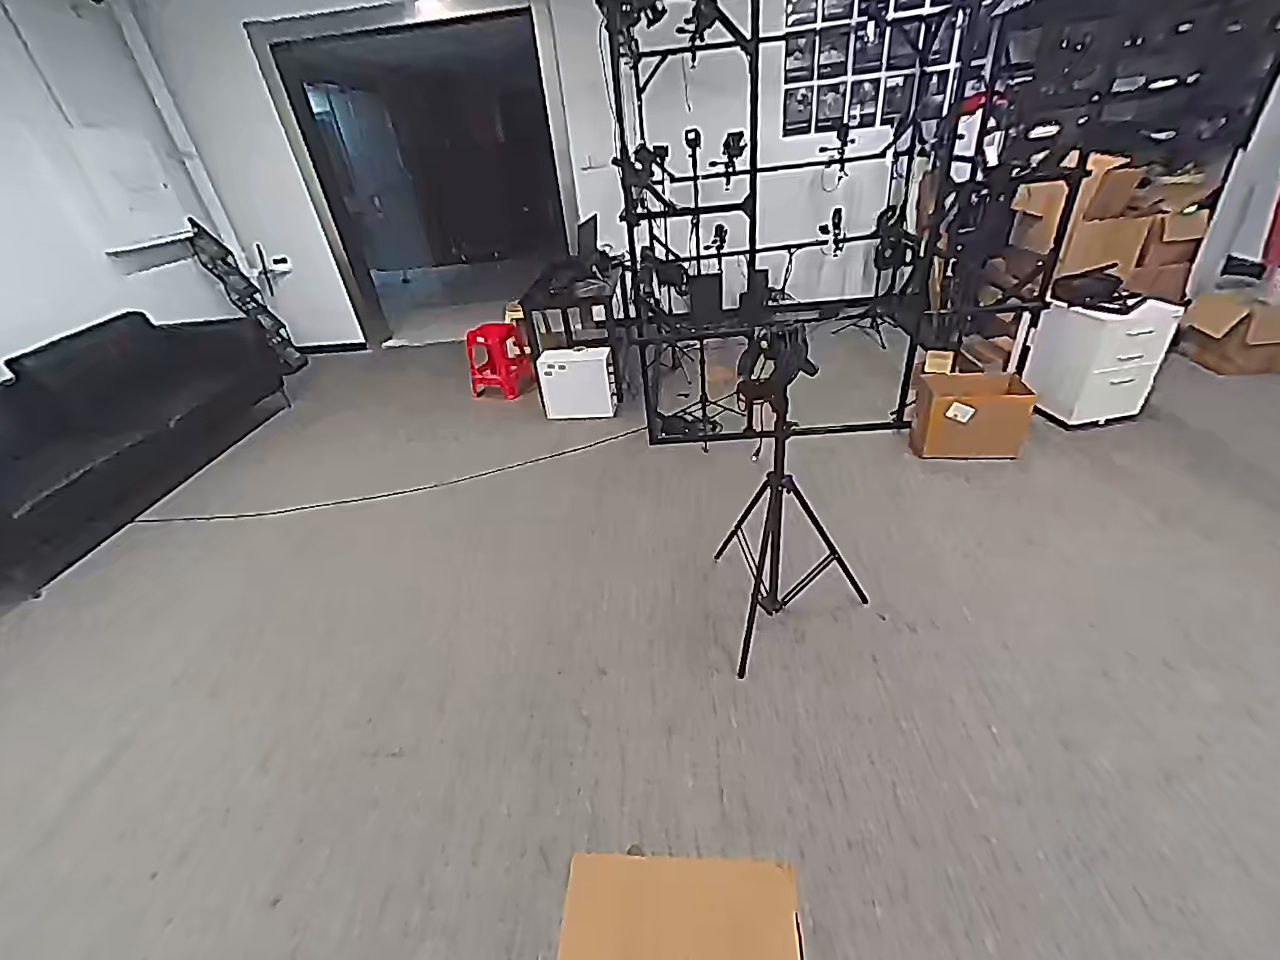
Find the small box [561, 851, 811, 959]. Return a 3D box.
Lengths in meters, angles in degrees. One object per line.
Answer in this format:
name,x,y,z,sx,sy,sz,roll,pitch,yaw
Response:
small box,0.039,0.404,0.407,0.179,0.176,0.168,-3,40,8
